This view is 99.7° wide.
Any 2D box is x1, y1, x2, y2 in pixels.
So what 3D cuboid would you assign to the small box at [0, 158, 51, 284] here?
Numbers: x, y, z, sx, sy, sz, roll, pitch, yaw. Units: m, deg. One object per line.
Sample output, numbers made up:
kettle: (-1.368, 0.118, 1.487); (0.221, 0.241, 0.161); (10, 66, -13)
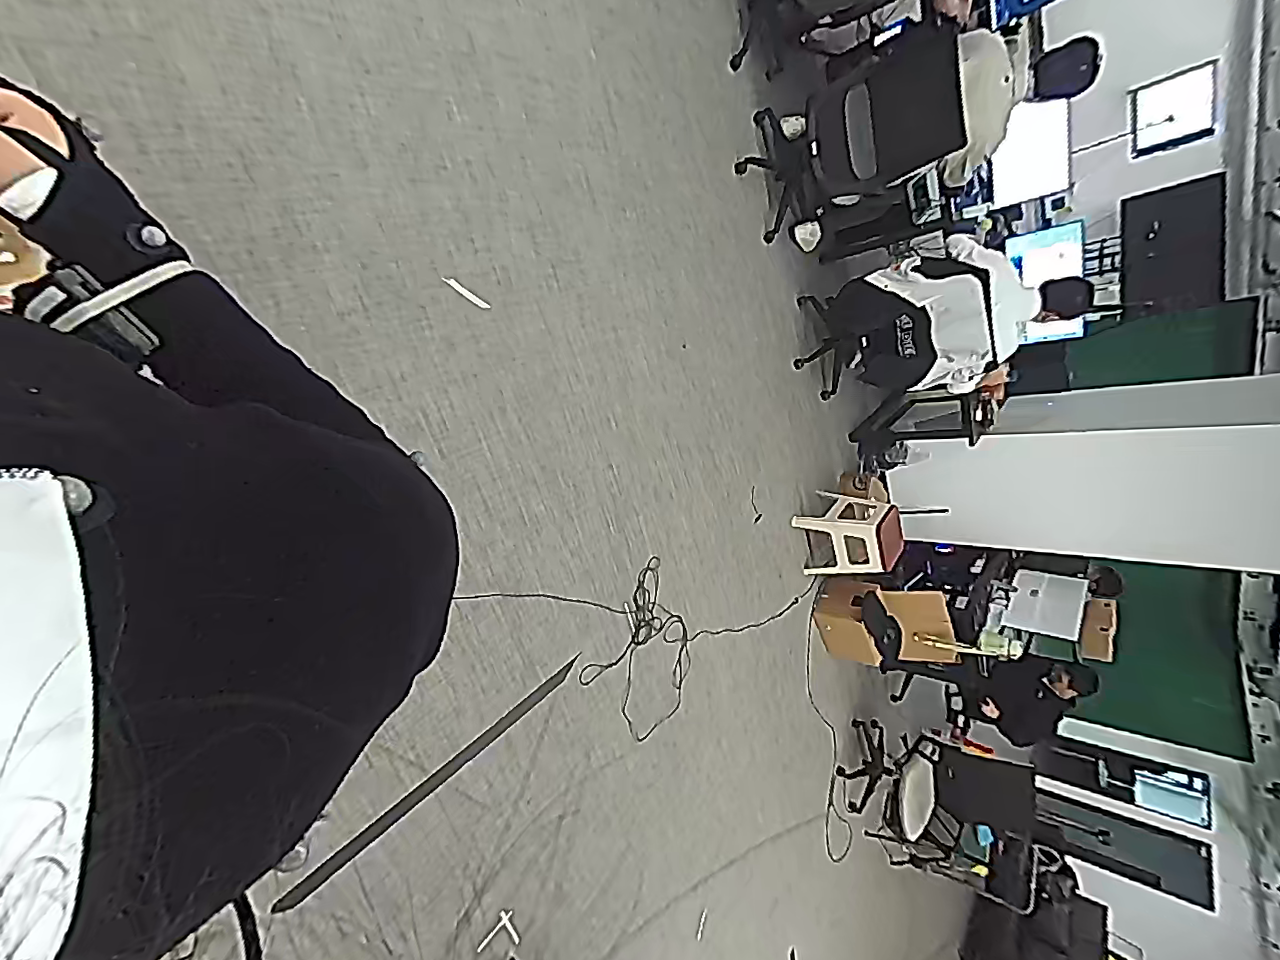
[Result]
small box: (-0.806, -0.306, 0.587); (0.179, 0.176, 0.168); (-34, 116, -42)
